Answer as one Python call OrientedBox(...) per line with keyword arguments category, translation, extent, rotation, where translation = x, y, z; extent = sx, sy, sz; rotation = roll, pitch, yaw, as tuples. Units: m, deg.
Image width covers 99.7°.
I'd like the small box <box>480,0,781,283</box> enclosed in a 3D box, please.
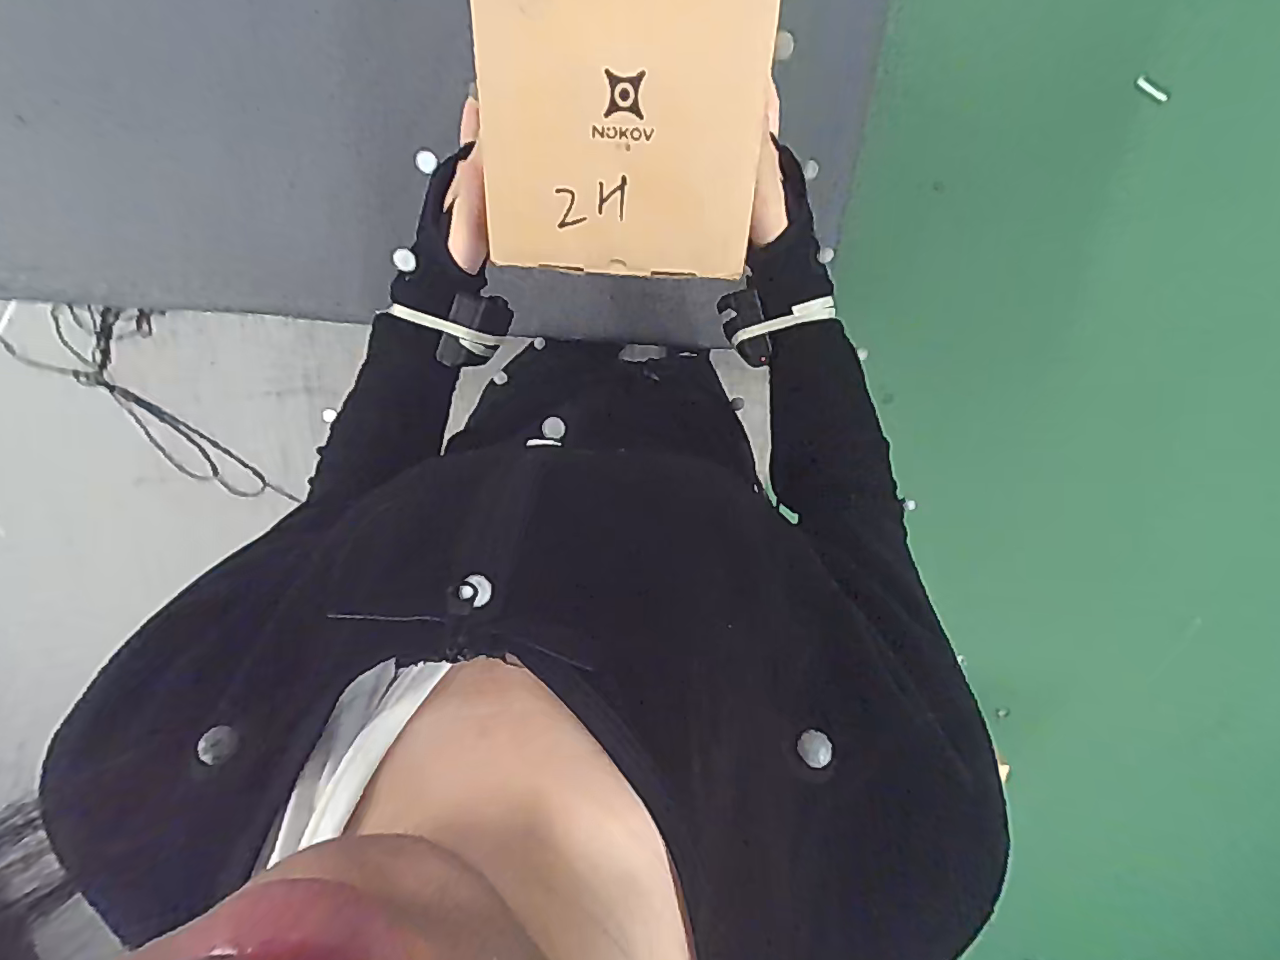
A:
OrientedBox(category="small box", translation=(-0.008, -0.249, 0.387), extent=(0.168, 0.176, 0.179), rotation=(4, 118, 0))
